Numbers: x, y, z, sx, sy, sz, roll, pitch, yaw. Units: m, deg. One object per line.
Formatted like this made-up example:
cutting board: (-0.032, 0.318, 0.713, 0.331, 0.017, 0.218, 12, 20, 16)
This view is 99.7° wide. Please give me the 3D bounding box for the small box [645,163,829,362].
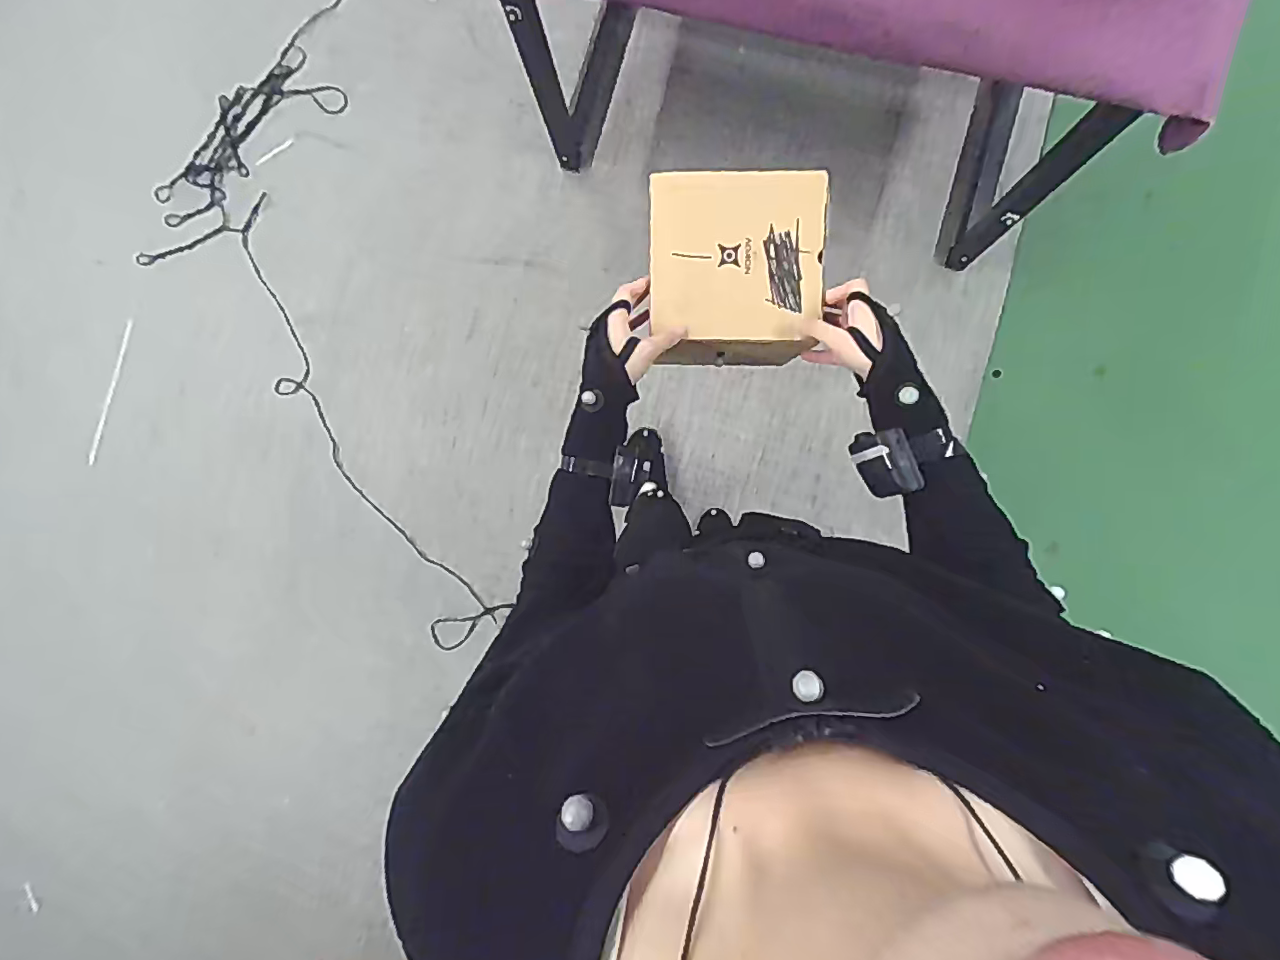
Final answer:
small box: (0.097, -0.230, 0.609, 0.179, 0.176, 0.168, 2, 93, 2)
